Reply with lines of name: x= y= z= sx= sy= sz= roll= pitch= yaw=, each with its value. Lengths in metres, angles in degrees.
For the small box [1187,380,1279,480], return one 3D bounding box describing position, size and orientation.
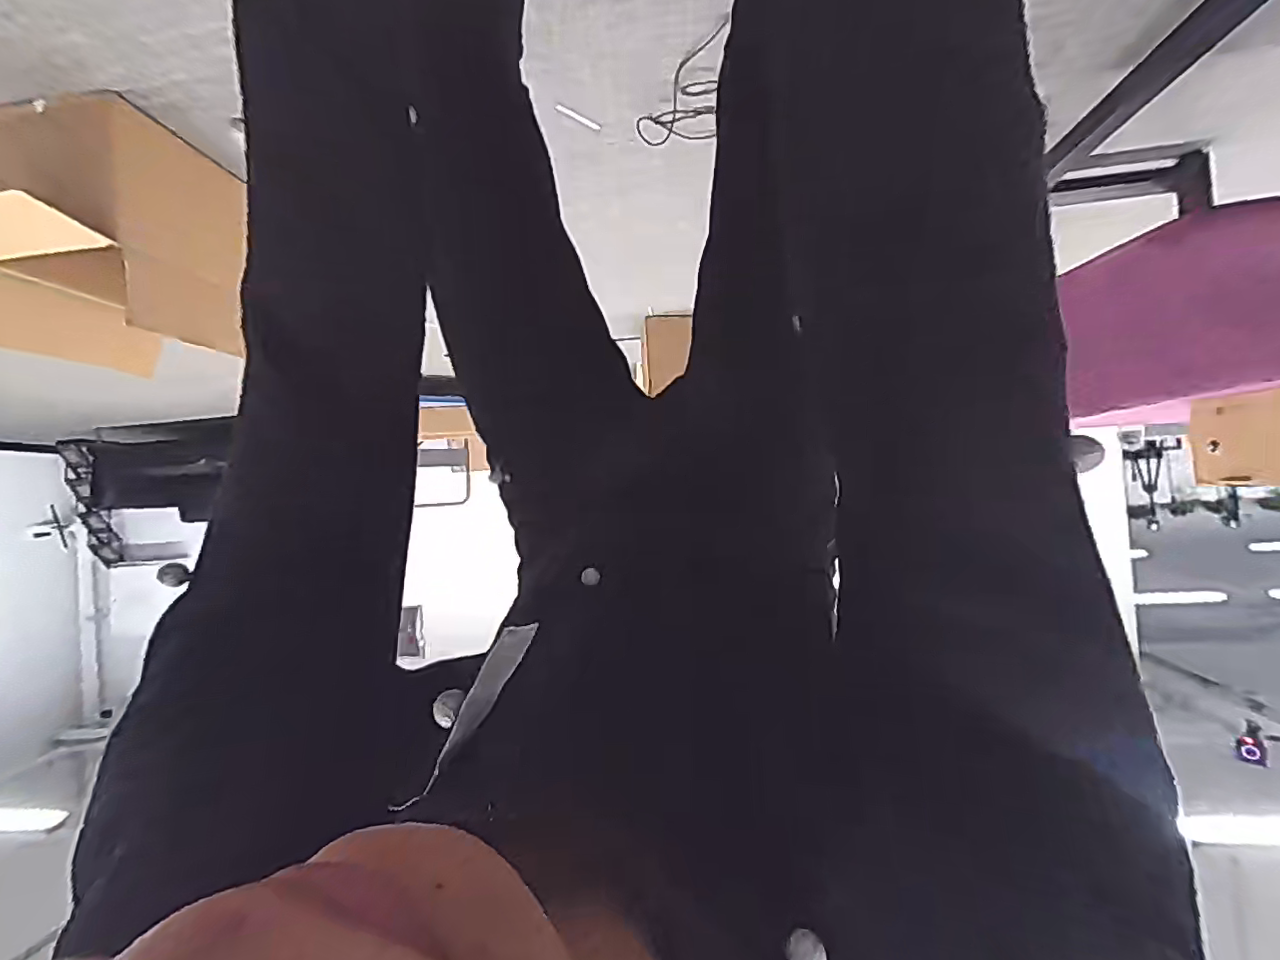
small box: x=1.126 y=-0.091 z=0.952 sx=0.179 sy=0.176 sz=0.168 roll=-5 pitch=180 yaw=2
